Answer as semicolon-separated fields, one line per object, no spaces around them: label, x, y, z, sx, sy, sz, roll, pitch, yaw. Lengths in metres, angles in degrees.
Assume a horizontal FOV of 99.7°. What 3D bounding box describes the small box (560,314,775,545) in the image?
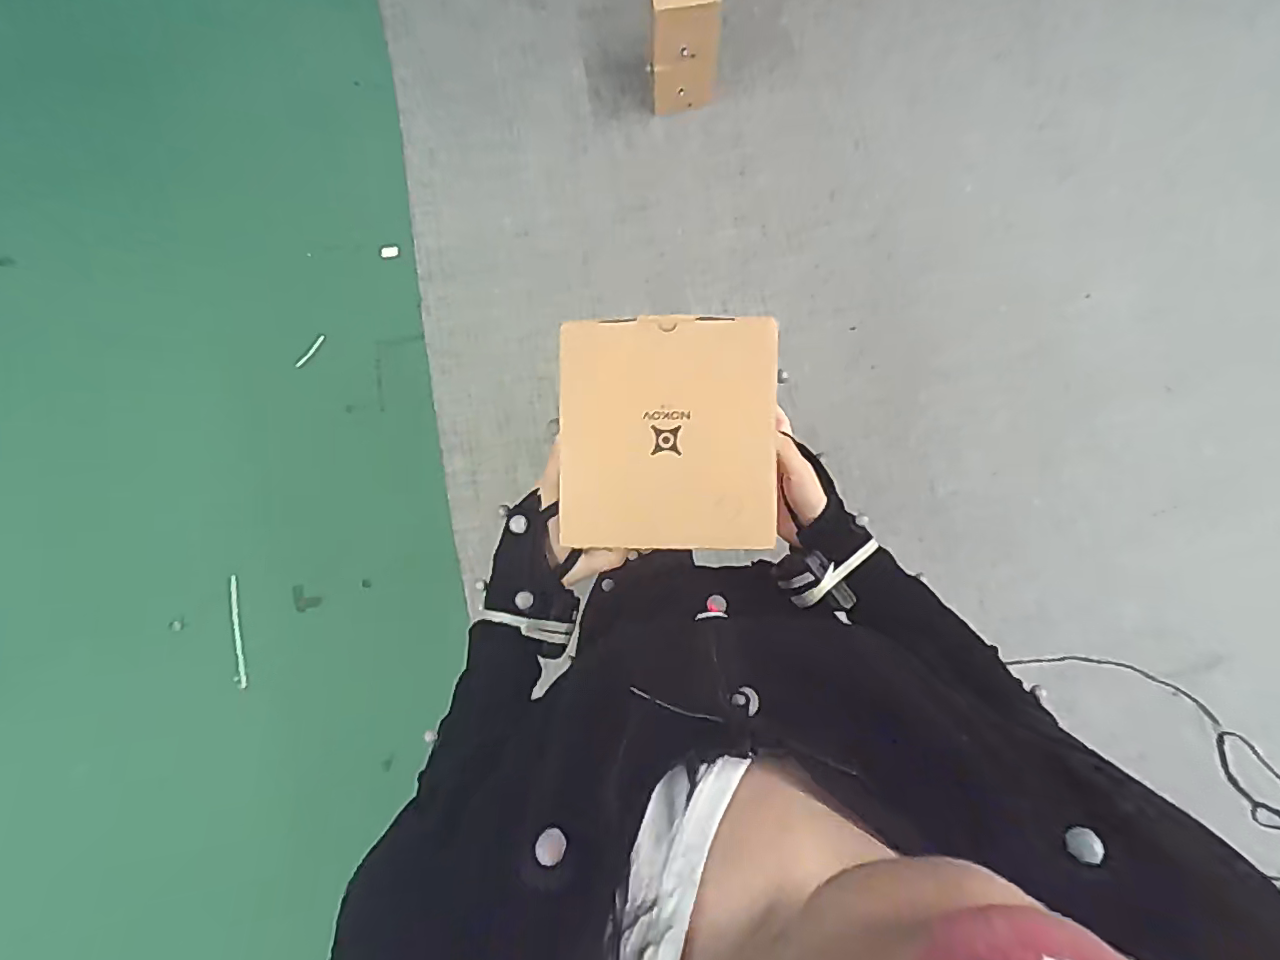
small box;0.027;-0.038;0.492;0.168;0.176;0.179;0;89;5

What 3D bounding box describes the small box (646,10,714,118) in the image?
small box;0.112;-1.169;1.537;0.168;0.176;0.179;-9;85;1
